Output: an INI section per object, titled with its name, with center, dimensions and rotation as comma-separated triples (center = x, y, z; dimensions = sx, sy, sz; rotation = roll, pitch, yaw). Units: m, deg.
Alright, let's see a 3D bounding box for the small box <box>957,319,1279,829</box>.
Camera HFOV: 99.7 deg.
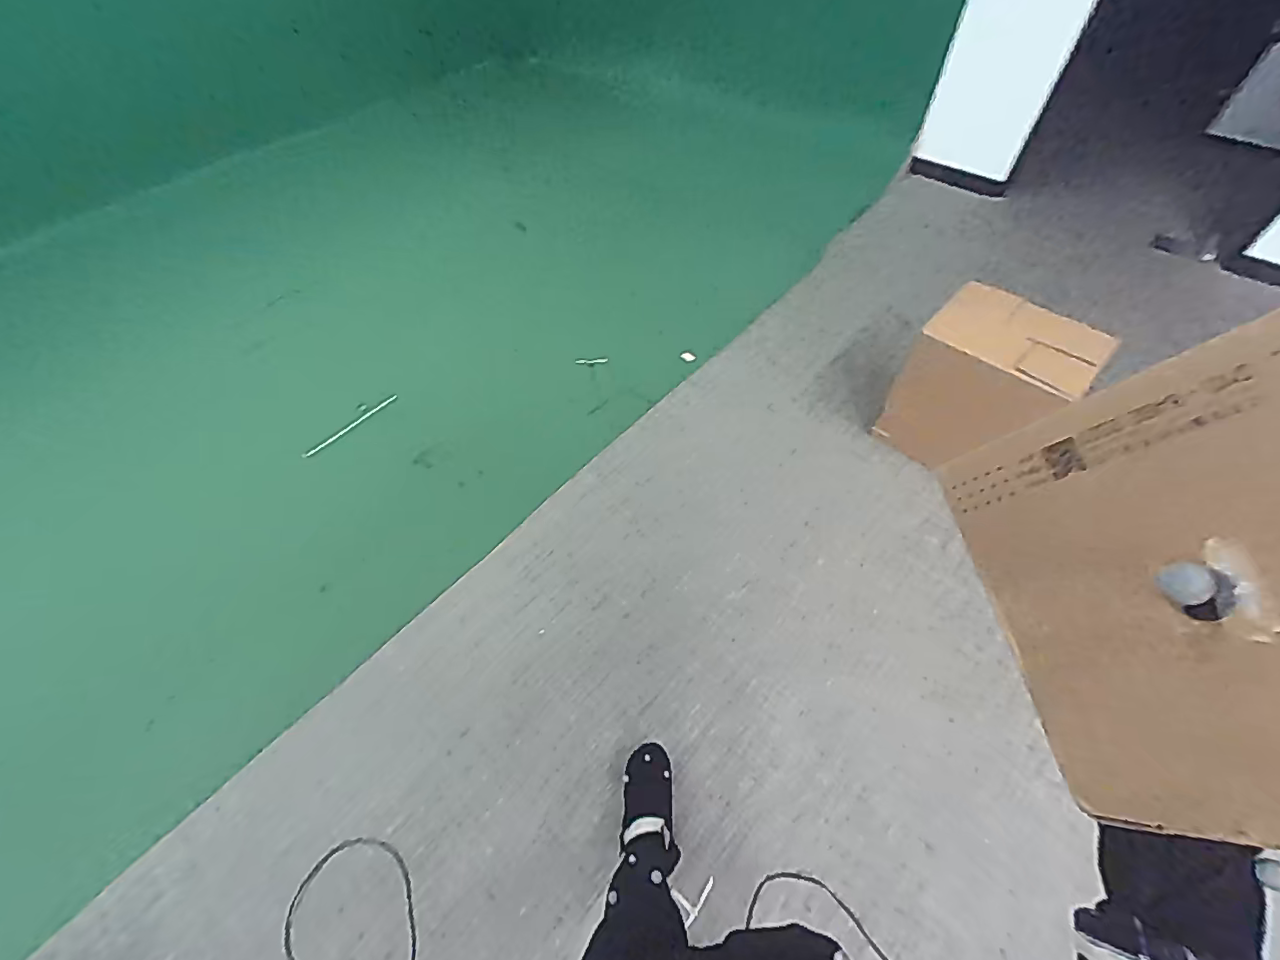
[small box]
center = 0.277, 0.027, 0.222
dimensions = 0.179, 0.168, 0.176
rotation = -6, 72, -22
